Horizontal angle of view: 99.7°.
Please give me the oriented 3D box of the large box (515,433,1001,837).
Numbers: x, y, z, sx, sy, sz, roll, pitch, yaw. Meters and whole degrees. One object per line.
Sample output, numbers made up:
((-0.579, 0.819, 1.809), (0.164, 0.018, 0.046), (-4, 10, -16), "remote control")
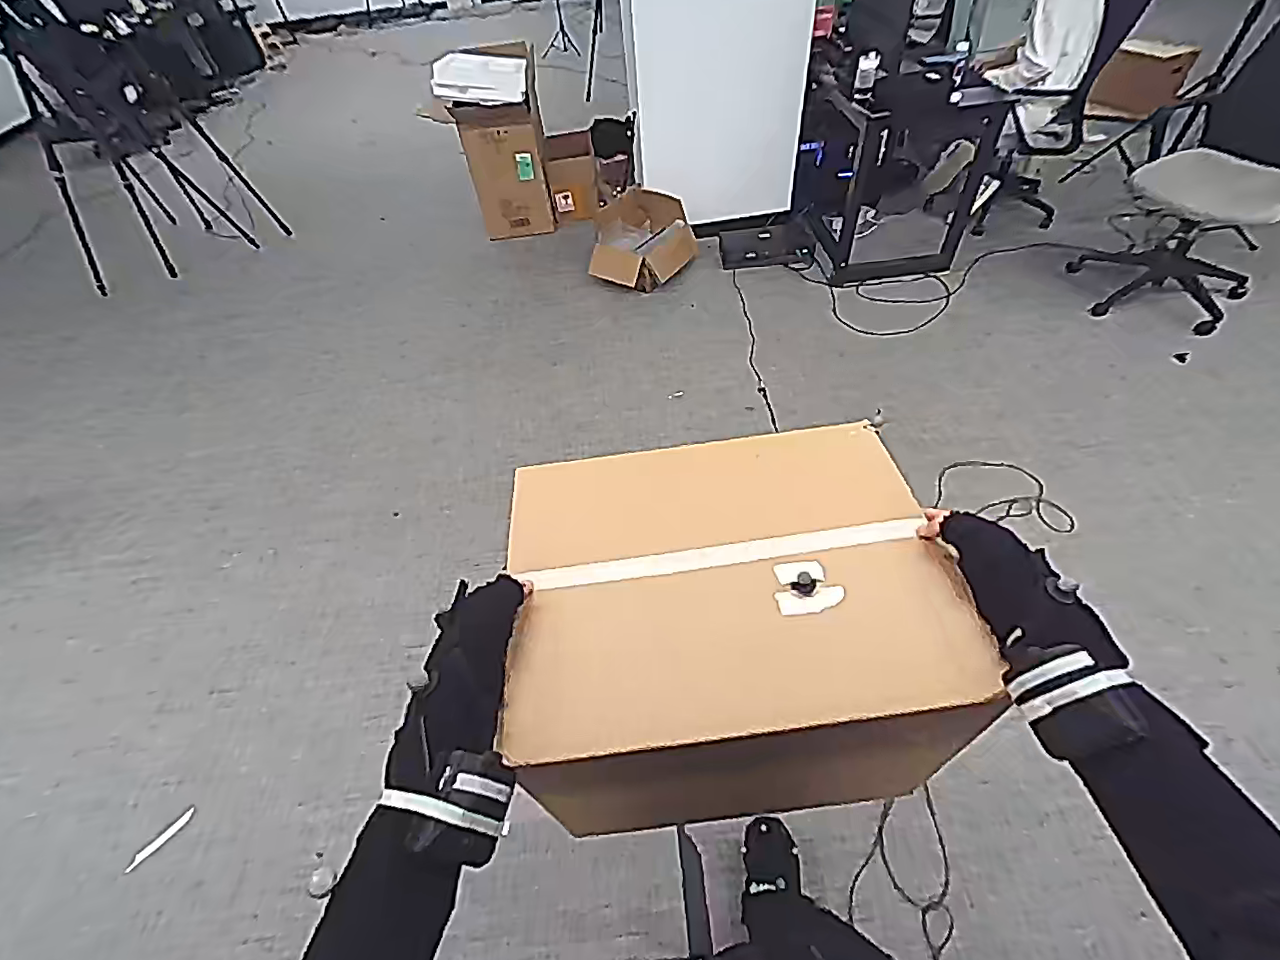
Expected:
((0.092, 0.185, 0.637), (0.408, 0.320, 0.320), (-8, 47, 0), "large box")

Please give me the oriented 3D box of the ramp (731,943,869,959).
((0.260, 1.304, 0.737), (0.509, 0.206, 0.991), (-10, 49, 1), "ramp")
